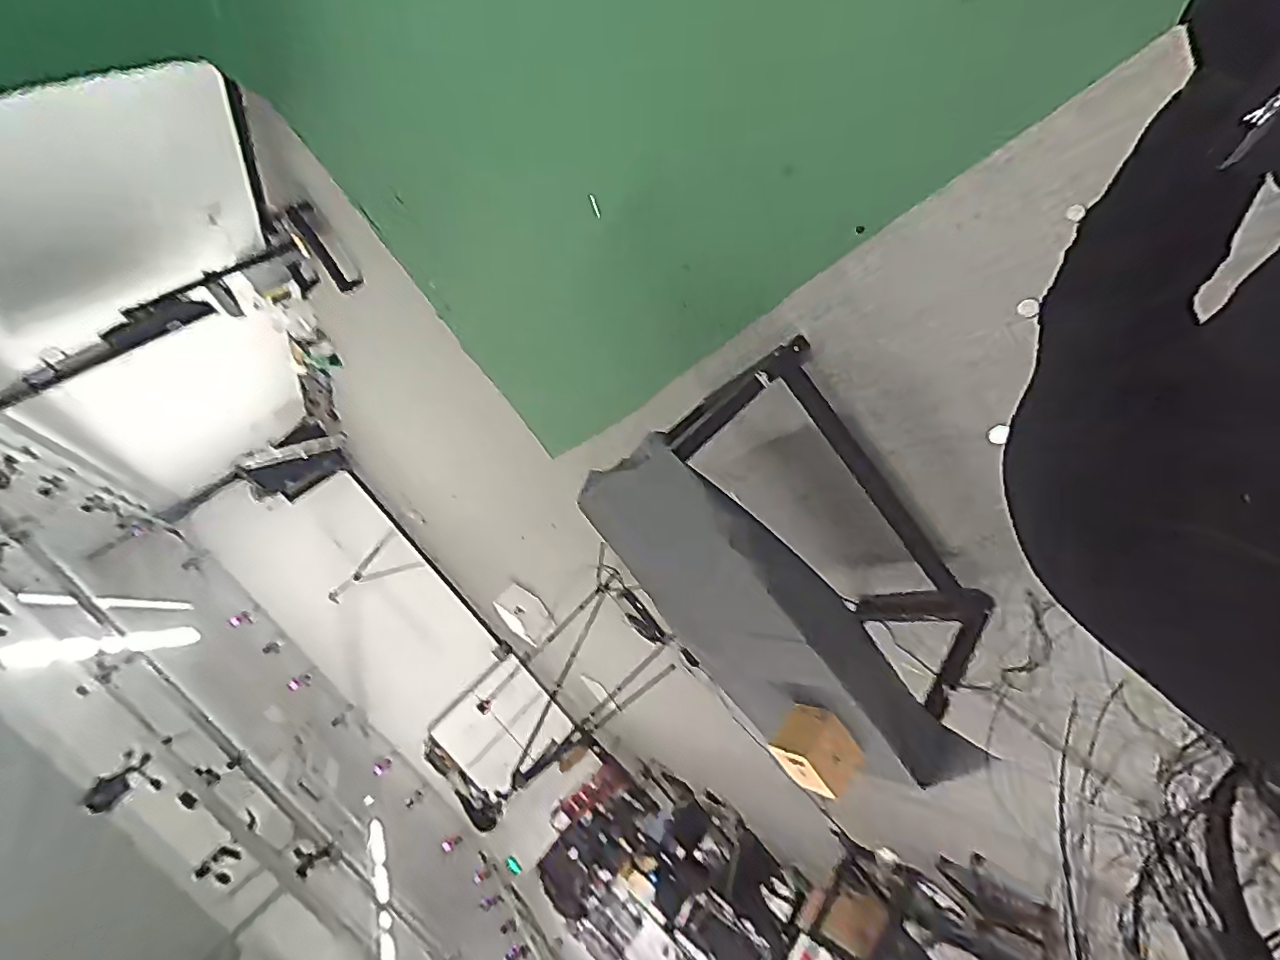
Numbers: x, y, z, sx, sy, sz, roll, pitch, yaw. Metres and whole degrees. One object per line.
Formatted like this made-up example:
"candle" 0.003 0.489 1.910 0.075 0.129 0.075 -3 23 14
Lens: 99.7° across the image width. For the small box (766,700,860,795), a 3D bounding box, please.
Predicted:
"small box" 0.522 0.796 1.629 0.179 0.176 0.168 53 151 -10
